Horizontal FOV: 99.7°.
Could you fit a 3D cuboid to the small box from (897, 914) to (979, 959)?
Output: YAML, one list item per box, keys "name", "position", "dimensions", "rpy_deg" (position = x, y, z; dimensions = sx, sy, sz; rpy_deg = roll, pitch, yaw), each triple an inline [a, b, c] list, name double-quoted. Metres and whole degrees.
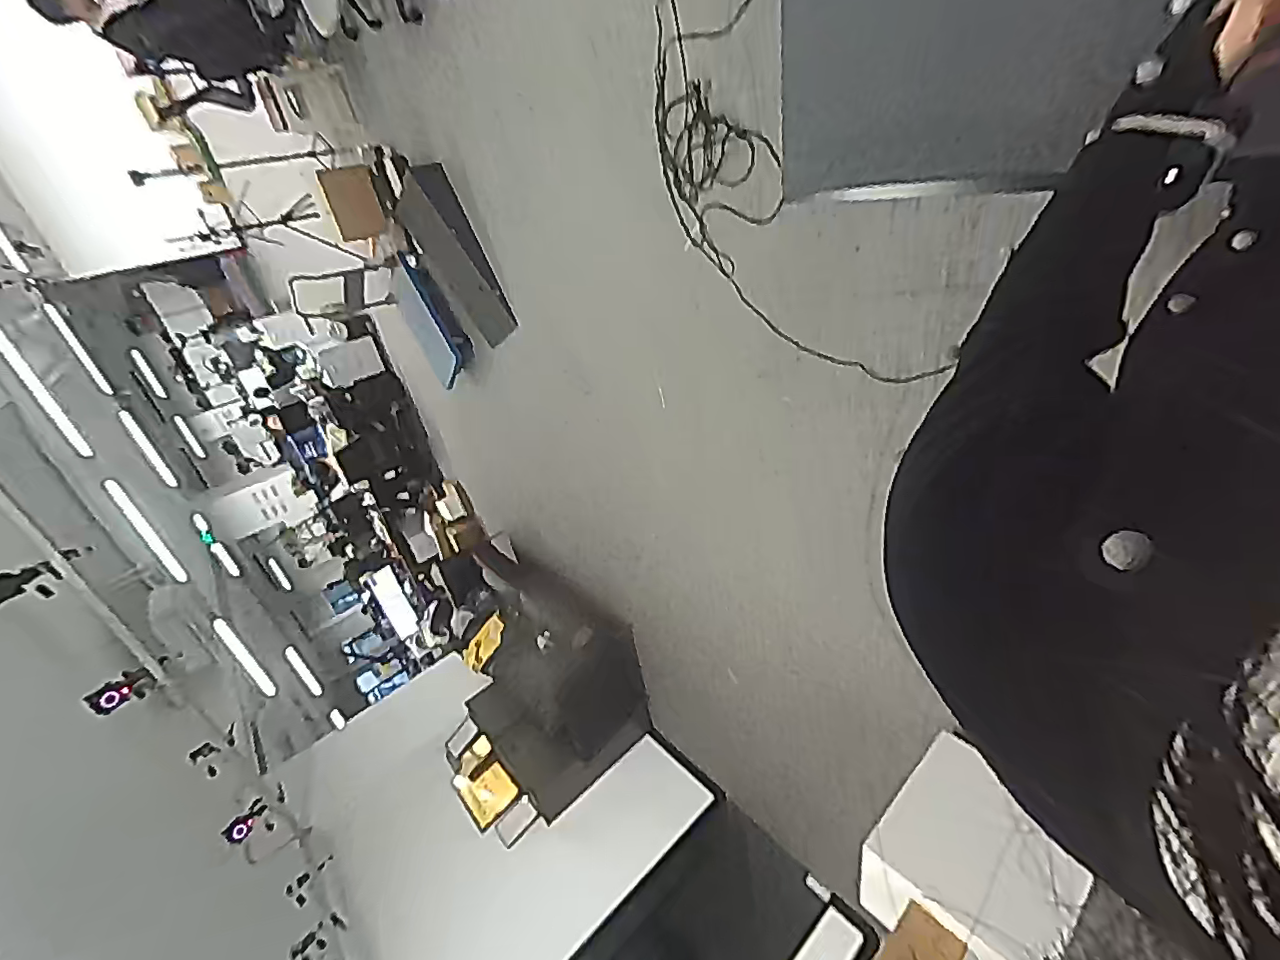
- name: "small box"
  position: [0.861, 1.423, 1.566]
  dimensions: [0.168, 0.176, 0.179]
  rpy_deg: [26, 136, 44]
